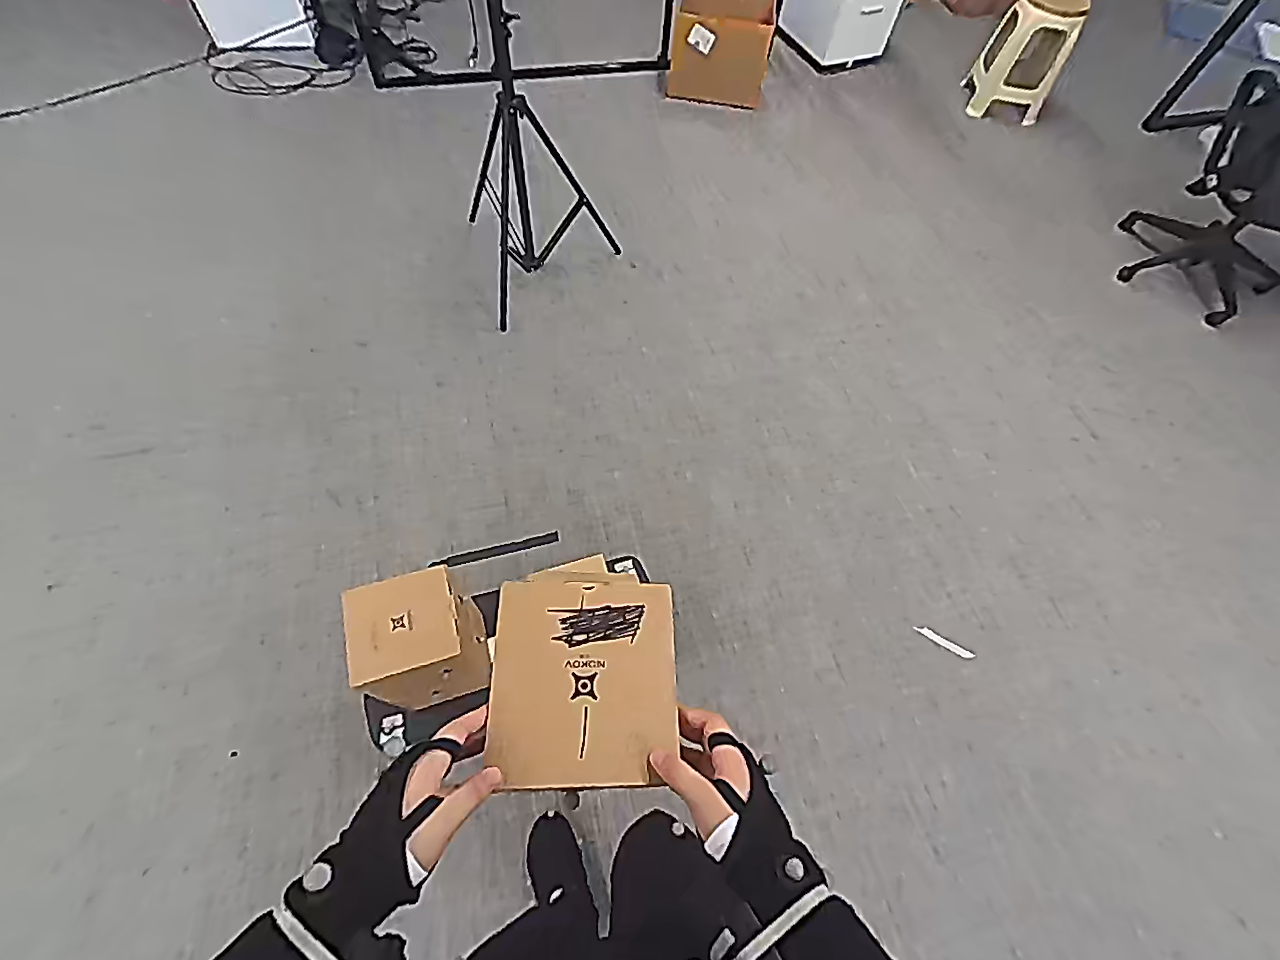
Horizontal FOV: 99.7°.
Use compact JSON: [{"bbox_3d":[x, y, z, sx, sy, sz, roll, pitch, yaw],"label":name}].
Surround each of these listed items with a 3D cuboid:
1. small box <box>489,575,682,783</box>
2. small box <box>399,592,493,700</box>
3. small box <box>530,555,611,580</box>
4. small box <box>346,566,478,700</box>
[{"bbox_3d":[-0.057,0.212,0.561,0.168,0.176,0.179,3,61,-8],"label":"small box"},{"bbox_3d":[-0.411,0.356,1.120,0.179,0.176,0.168,-15,64,-12],"label":"small box"},{"bbox_3d":[-0.135,0.288,1.176,0.168,0.176,0.179,-15,64,-10],"label":"small box"},{"bbox_3d":[-0.400,0.279,0.976,0.179,0.176,0.168,-16,63,-12],"label":"small box"}]
